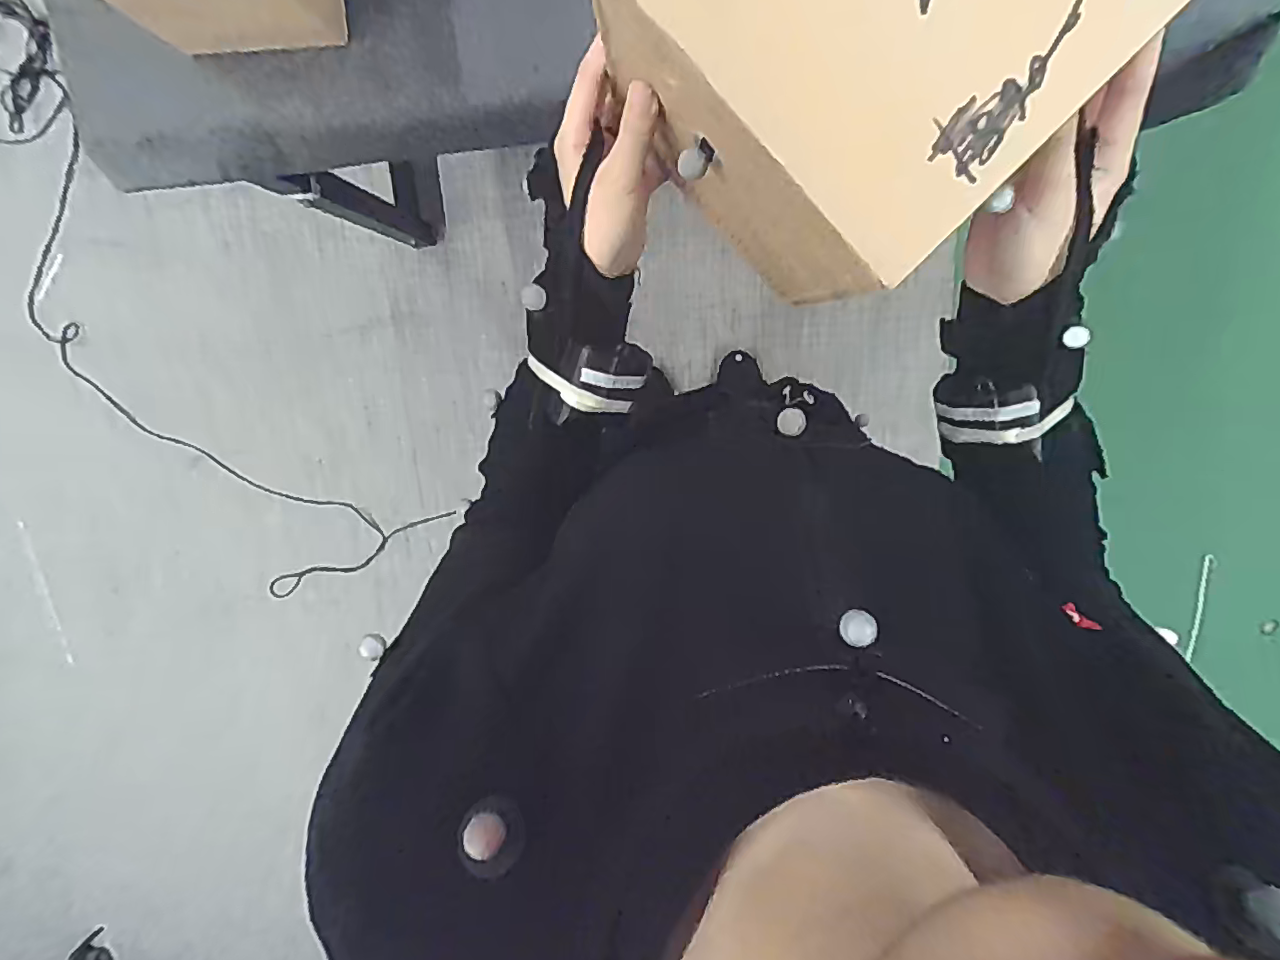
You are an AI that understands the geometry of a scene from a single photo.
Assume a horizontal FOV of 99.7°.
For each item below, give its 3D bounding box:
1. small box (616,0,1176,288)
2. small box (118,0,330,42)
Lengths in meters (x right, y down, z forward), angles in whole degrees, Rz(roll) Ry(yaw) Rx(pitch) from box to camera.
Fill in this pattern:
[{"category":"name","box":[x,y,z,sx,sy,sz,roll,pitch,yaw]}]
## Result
[{"category":"small box","box":[0.098,-0.217,0.270,0.179,0.176,0.168,43,102,-10]},{"category":"small box","box":[-0.388,-0.507,0.451,0.179,0.176,0.168,-1,101,4]}]
